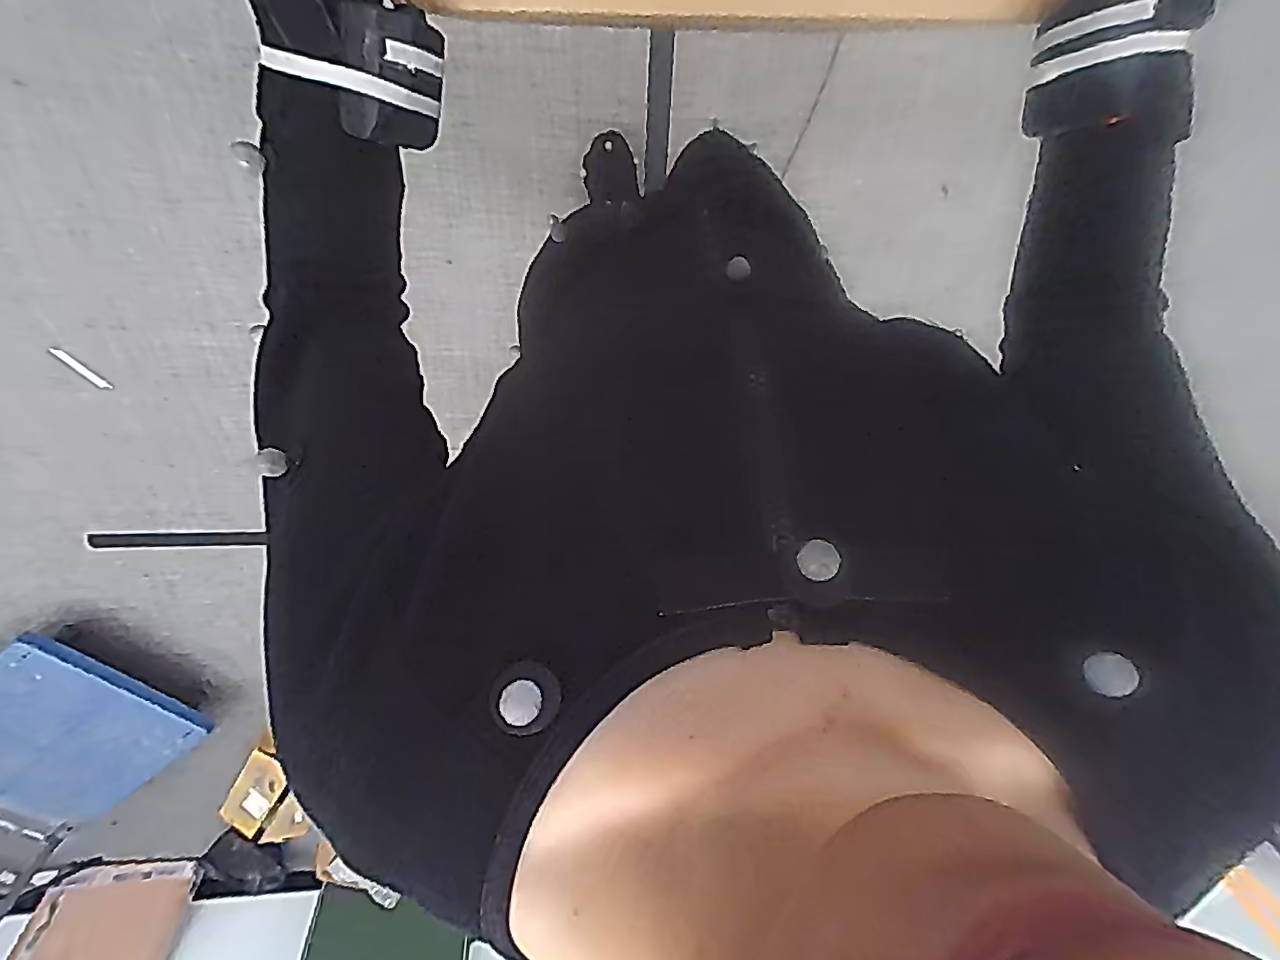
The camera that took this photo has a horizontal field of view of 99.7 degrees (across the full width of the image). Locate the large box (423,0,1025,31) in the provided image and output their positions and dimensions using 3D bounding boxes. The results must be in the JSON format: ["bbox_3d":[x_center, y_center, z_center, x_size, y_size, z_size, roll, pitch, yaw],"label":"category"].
[{"bbox_3d":[0.048,-0.500,0.348,0.408,0.320,0.320,-3,129,-4],"label":"large box"}]
